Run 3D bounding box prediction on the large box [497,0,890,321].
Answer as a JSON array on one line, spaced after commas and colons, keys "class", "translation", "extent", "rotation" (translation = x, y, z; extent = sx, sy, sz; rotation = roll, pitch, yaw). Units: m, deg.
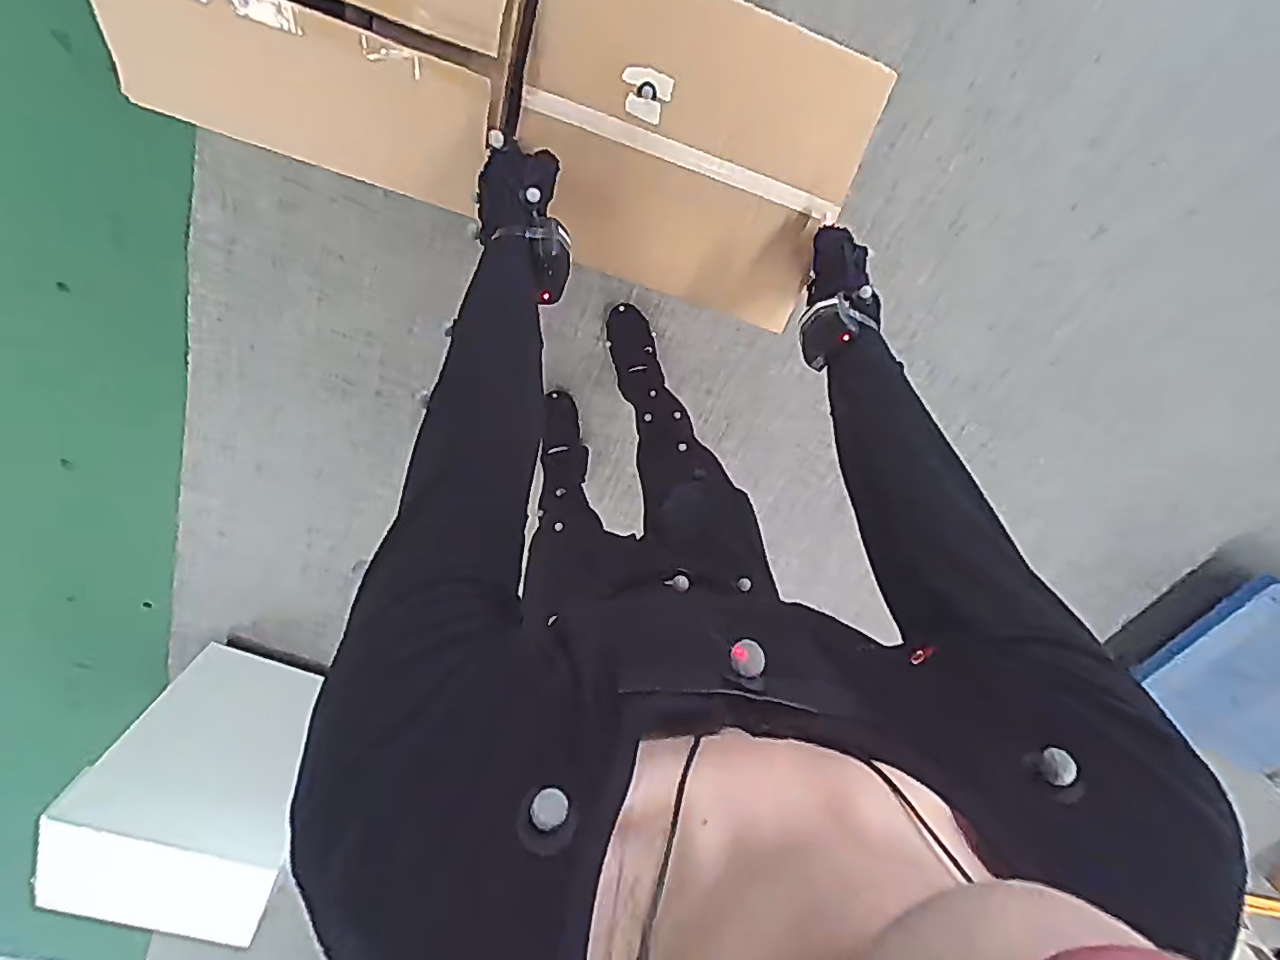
[{"class": "large box", "translation": [0.053, -0.466, 0.778], "extent": [0.408, 0.320, 0.320], "rotation": [16, 117, -8]}]
